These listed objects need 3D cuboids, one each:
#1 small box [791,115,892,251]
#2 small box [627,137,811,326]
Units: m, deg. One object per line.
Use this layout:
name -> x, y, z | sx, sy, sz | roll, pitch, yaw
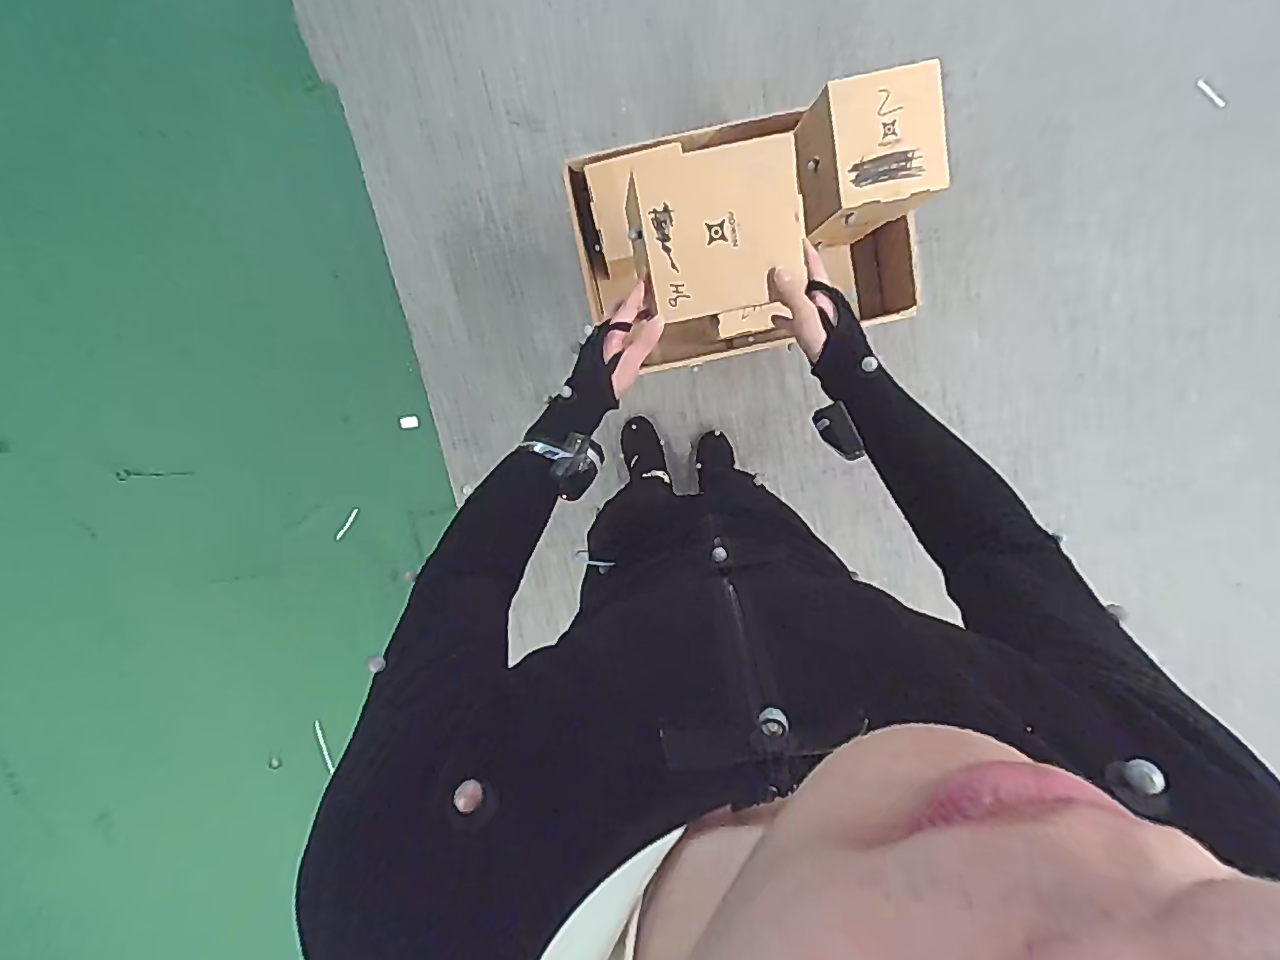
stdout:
small box -> 0.352, -0.547, 1.026 | 0.168, 0.176, 0.179 | -11, 101, 1
small box -> 0.086, -0.285, 0.657 | 0.179, 0.176, 0.168 | -11, 105, -1
